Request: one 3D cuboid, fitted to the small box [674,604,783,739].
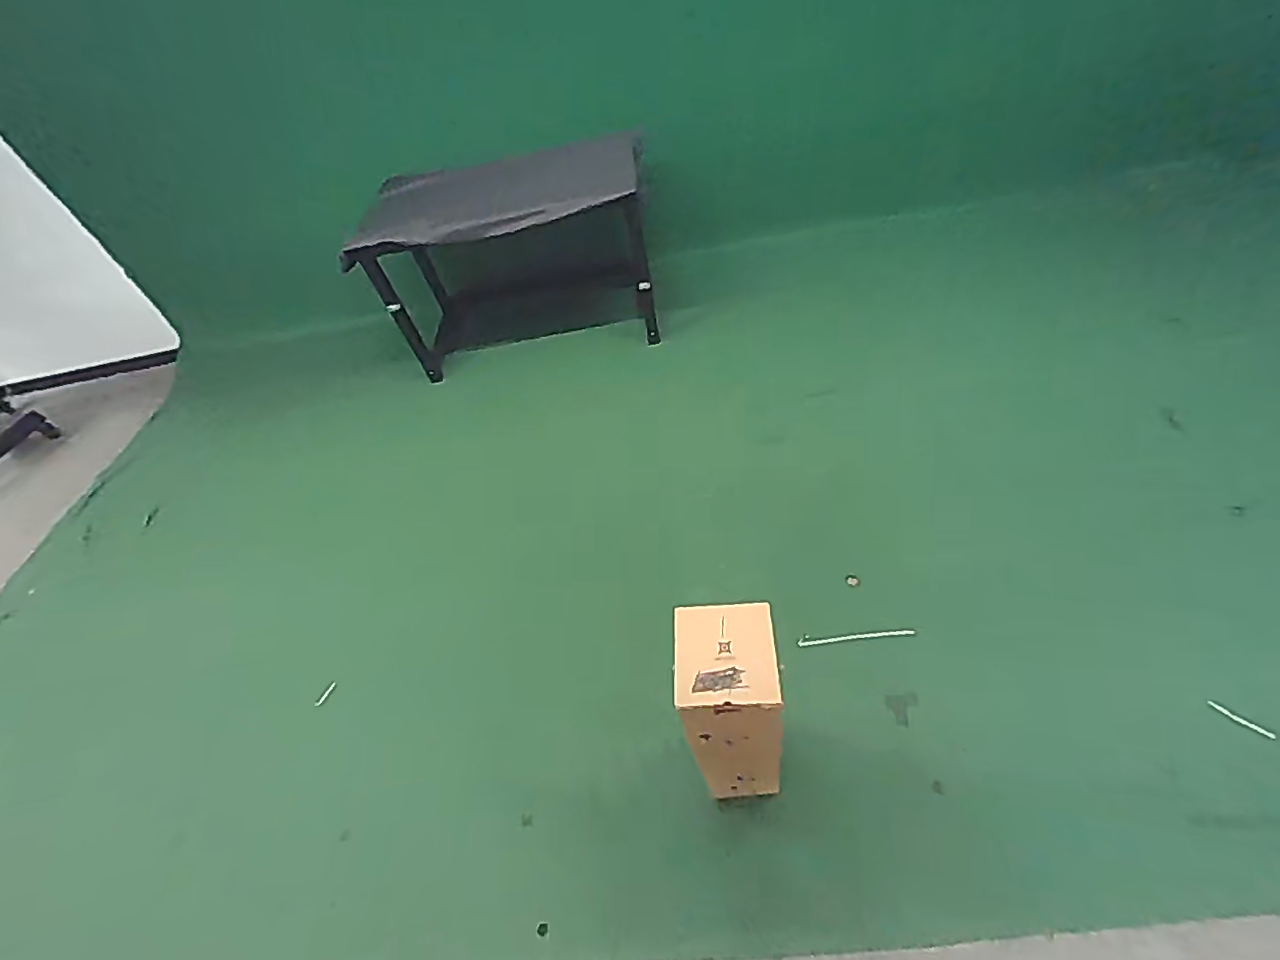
[{"bbox_3d":[0.154,0.335,0.932,0.168,0.176,0.179,-5,47,10],"label":"small box"}]

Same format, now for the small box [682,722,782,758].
[{"bbox_3d":[0.179,0.435,1.060,0.179,0.176,0.168,-7,48,9],"label":"small box"}]

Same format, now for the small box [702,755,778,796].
[{"bbox_3d":[0.237,0.648,1.304,0.168,0.176,0.179,-9,47,7],"label":"small box"}]
